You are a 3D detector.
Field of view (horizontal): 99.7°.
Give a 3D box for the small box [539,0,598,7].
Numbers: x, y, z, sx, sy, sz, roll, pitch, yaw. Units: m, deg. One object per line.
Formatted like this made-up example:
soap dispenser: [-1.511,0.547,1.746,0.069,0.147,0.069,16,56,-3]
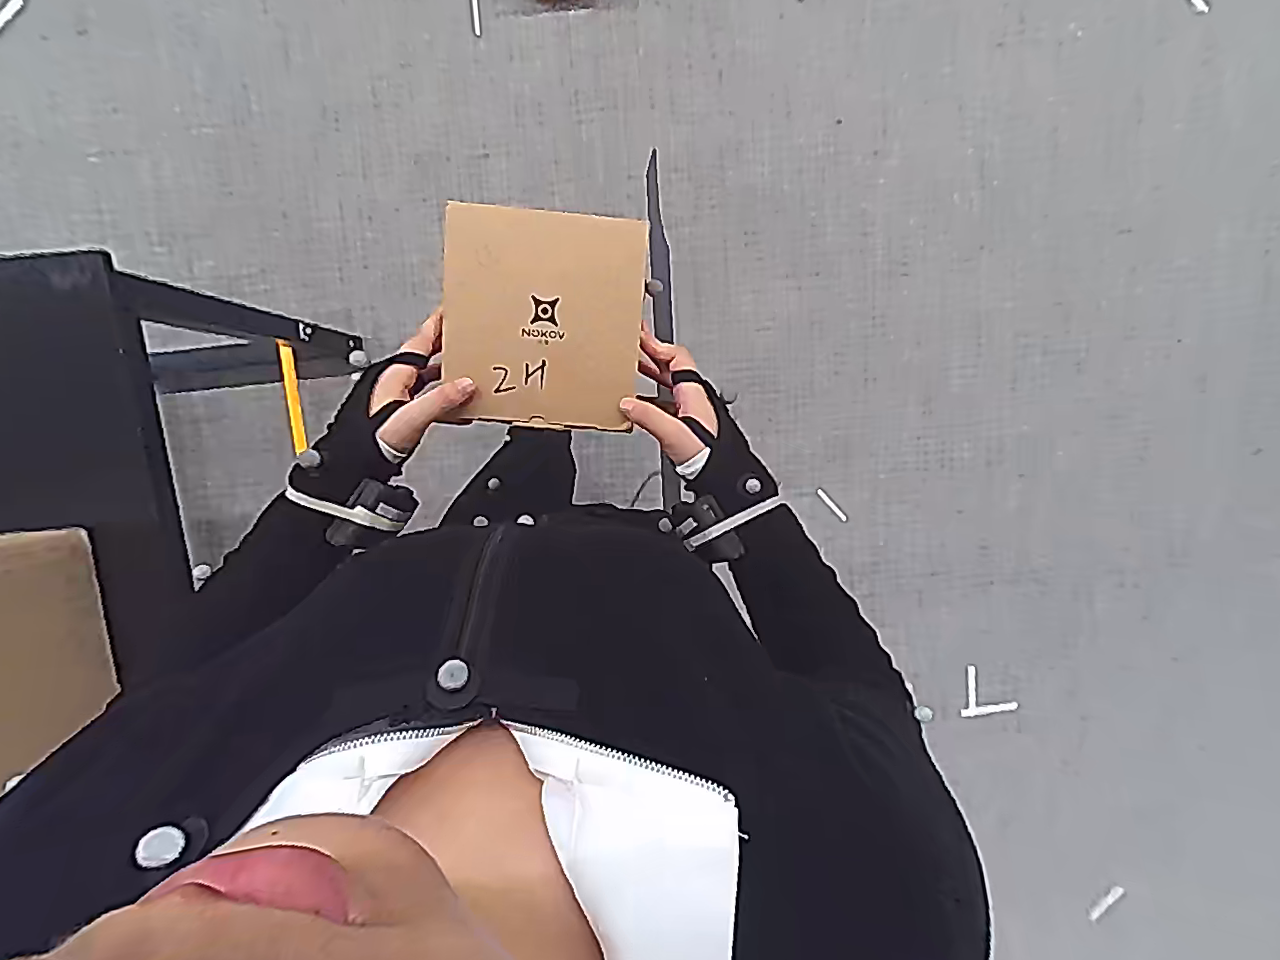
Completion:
small box: [-0.176,-1.235,1.226,0.168,0.176,0.179,-8,98,0]
